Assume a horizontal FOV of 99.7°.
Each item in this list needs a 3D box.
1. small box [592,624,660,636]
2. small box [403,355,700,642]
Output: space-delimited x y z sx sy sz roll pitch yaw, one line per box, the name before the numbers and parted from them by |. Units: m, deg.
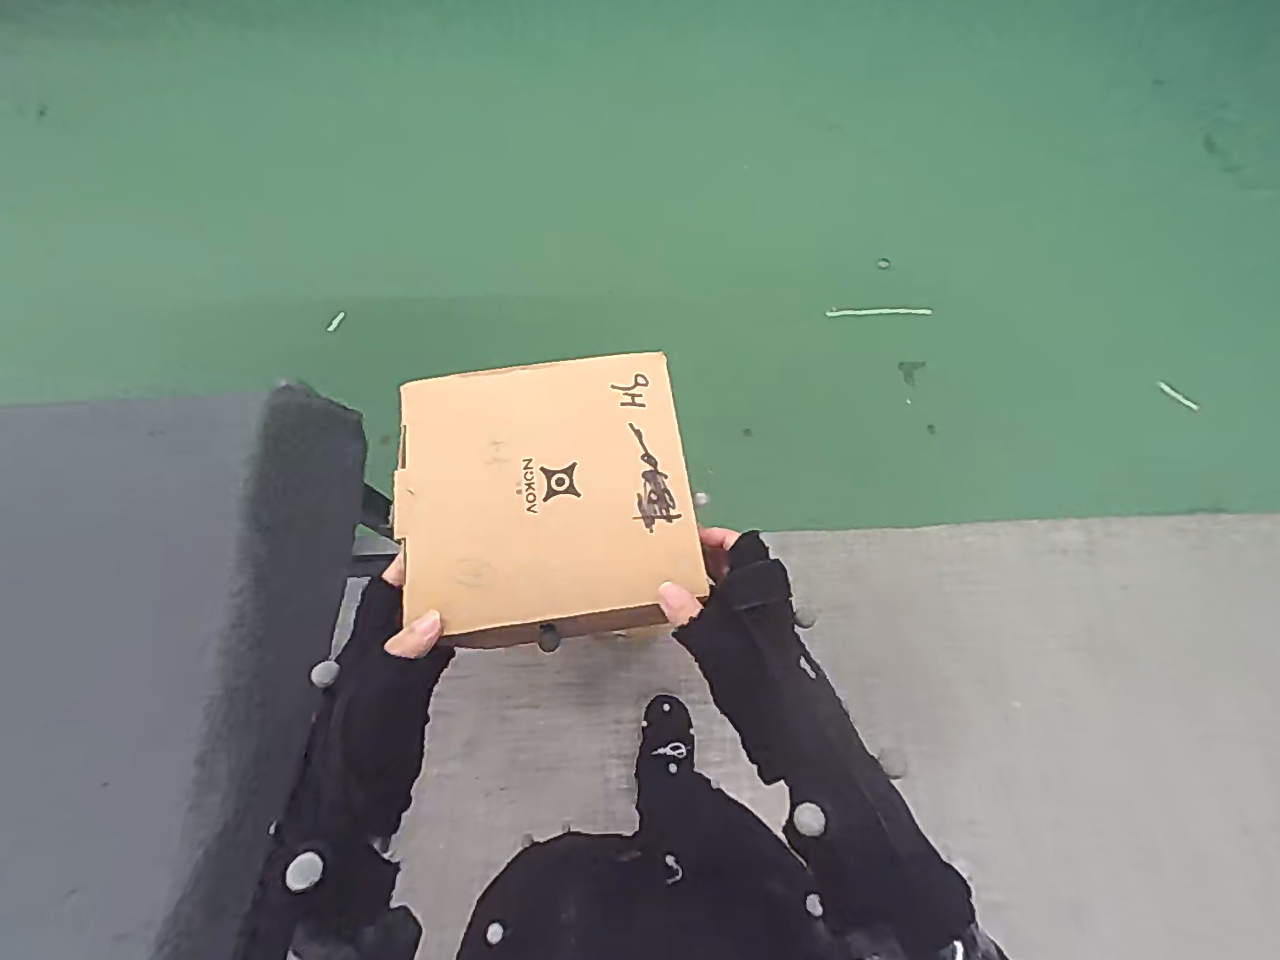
small box | -0.036 0.265 1.254 0.168 0.176 0.179 0 70 2
small box | -0.058 0.027 0.413 0.179 0.176 0.168 -6 71 -3
